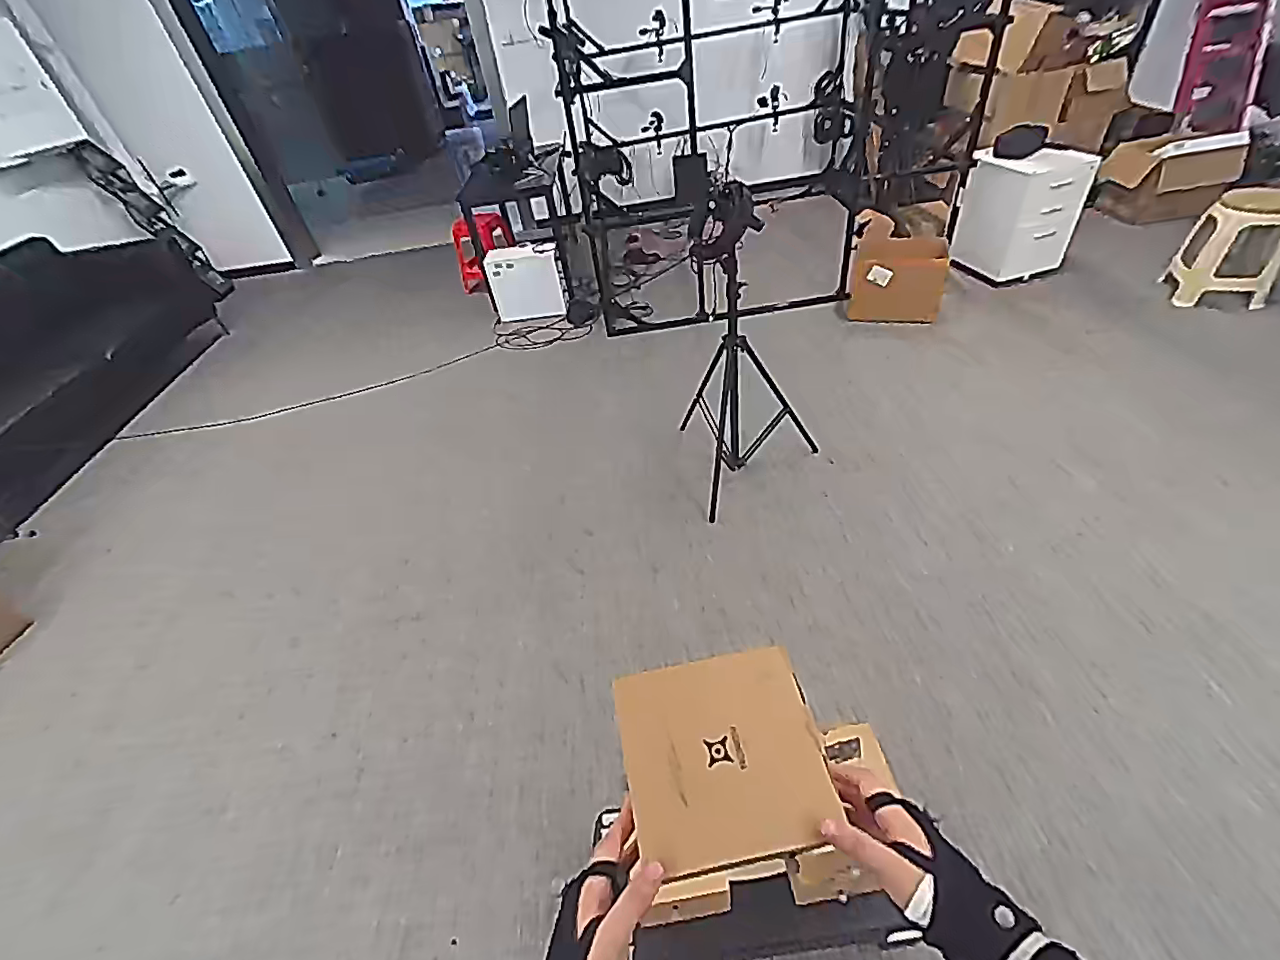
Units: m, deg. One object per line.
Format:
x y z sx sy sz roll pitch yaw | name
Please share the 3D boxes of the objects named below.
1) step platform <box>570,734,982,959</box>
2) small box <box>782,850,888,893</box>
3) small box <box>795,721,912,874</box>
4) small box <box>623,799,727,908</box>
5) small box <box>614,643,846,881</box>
0.224 0.701 1.005 0.684 0.204 0.286 -9 41 0 | step platform
0.354 0.681 1.054 0.168 0.176 0.179 -11 42 1 | small box
0.341 0.556 0.947 0.168 0.176 0.179 -11 42 0 | small box
0.068 0.730 1.057 0.179 0.176 0.168 -11 42 -1 | small box
0.079 0.290 0.552 0.179 0.176 0.168 -12 51 -3 | small box
